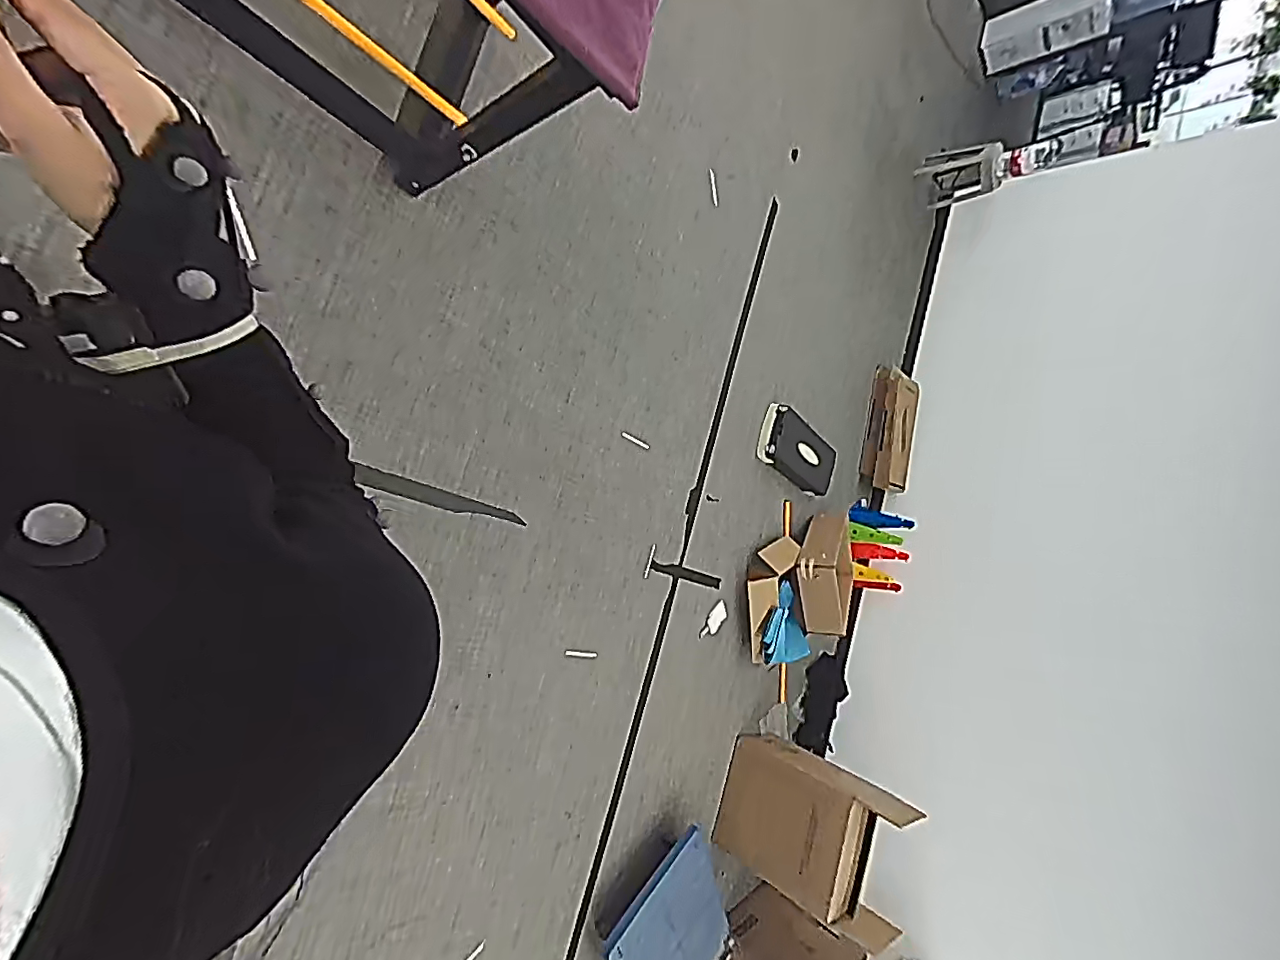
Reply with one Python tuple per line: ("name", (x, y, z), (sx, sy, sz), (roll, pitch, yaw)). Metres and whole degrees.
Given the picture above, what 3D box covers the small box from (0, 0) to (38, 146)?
("small box", (-0.380, -0.263, 0.210), (0.168, 0.176, 0.179), (-17, 106, -44))
